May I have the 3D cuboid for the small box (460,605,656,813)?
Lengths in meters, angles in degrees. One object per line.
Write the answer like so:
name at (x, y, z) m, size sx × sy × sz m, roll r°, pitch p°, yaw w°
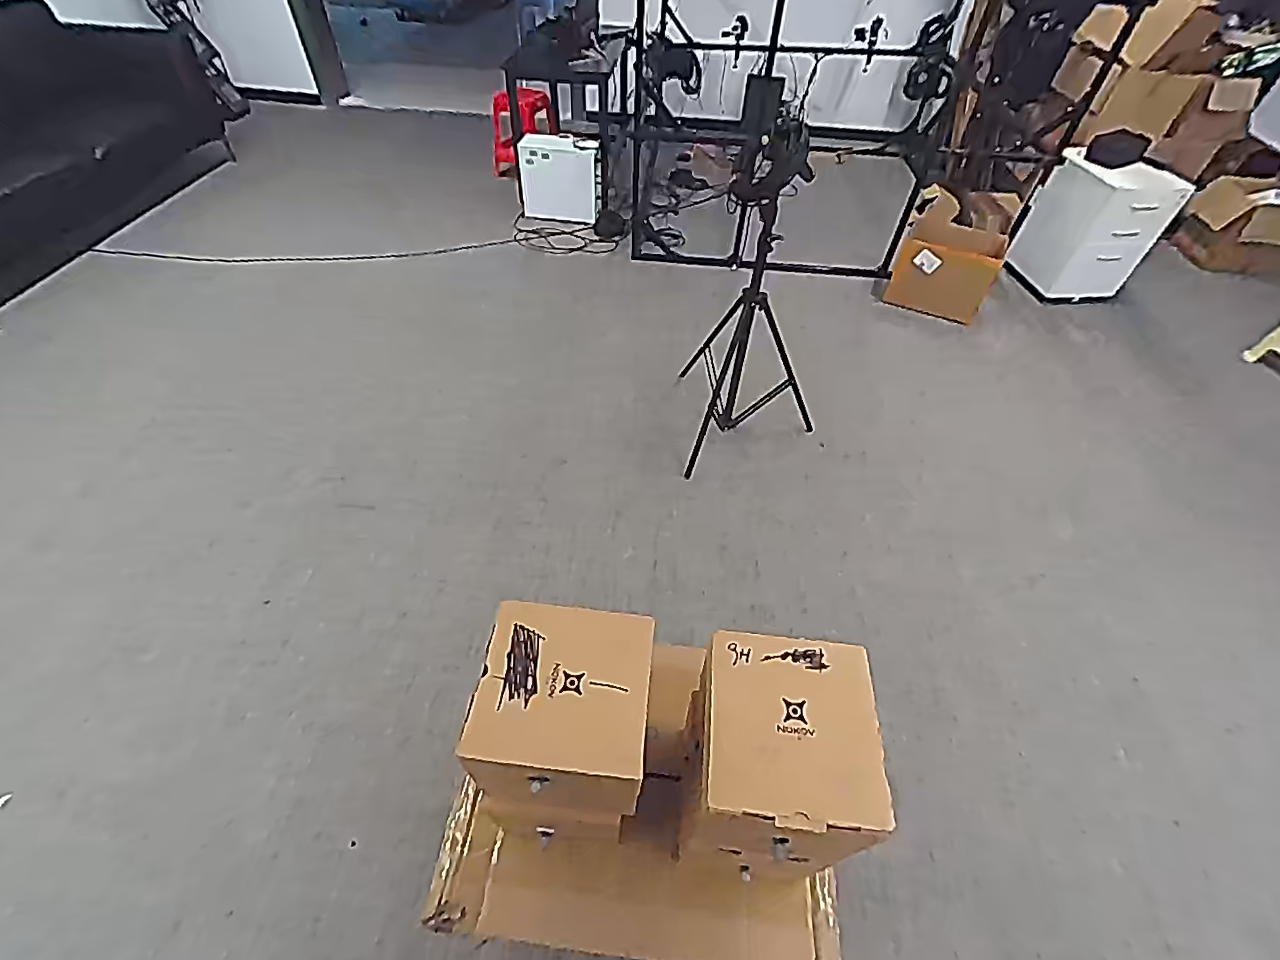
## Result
small box at (-0.079, 0.262, 0.612) m, size 0.179 × 0.176 × 0.168 m, roll 6°, pitch 49°, yaw 1°

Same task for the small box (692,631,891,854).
small box at (0.149, 0.290, 0.591) m, size 0.168 × 0.176 × 0.179 m, roll 6°, pitch 49°, yaw 3°

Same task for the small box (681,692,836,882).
small box at (0.142, 0.404, 0.712) m, size 0.168 × 0.176 × 0.179 m, roll 4°, pitch 49°, yaw 4°

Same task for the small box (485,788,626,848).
small box at (-0.094, 0.374, 0.731) m, size 0.168 × 0.176 × 0.179 m, roll 5°, pitch 49°, yaw 2°
